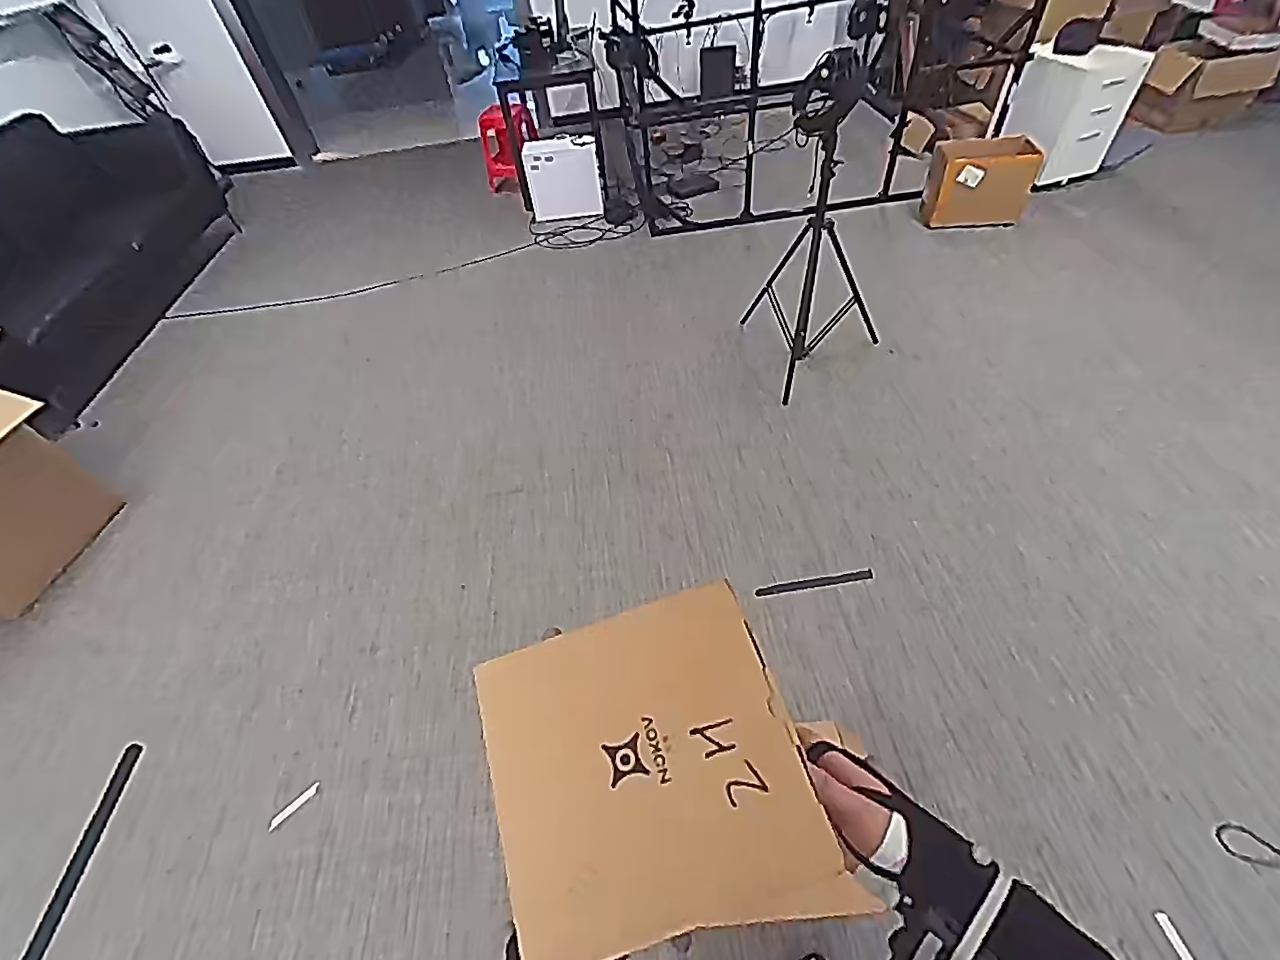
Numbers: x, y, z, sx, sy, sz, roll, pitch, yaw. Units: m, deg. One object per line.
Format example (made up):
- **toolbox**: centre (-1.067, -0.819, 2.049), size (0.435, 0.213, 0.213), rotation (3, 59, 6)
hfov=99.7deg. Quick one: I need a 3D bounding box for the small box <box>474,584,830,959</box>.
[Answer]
- **small box**: centre (0.007, 0.198, 0.386), size (0.179, 0.176, 0.168), rotation (-19, 63, -2)
